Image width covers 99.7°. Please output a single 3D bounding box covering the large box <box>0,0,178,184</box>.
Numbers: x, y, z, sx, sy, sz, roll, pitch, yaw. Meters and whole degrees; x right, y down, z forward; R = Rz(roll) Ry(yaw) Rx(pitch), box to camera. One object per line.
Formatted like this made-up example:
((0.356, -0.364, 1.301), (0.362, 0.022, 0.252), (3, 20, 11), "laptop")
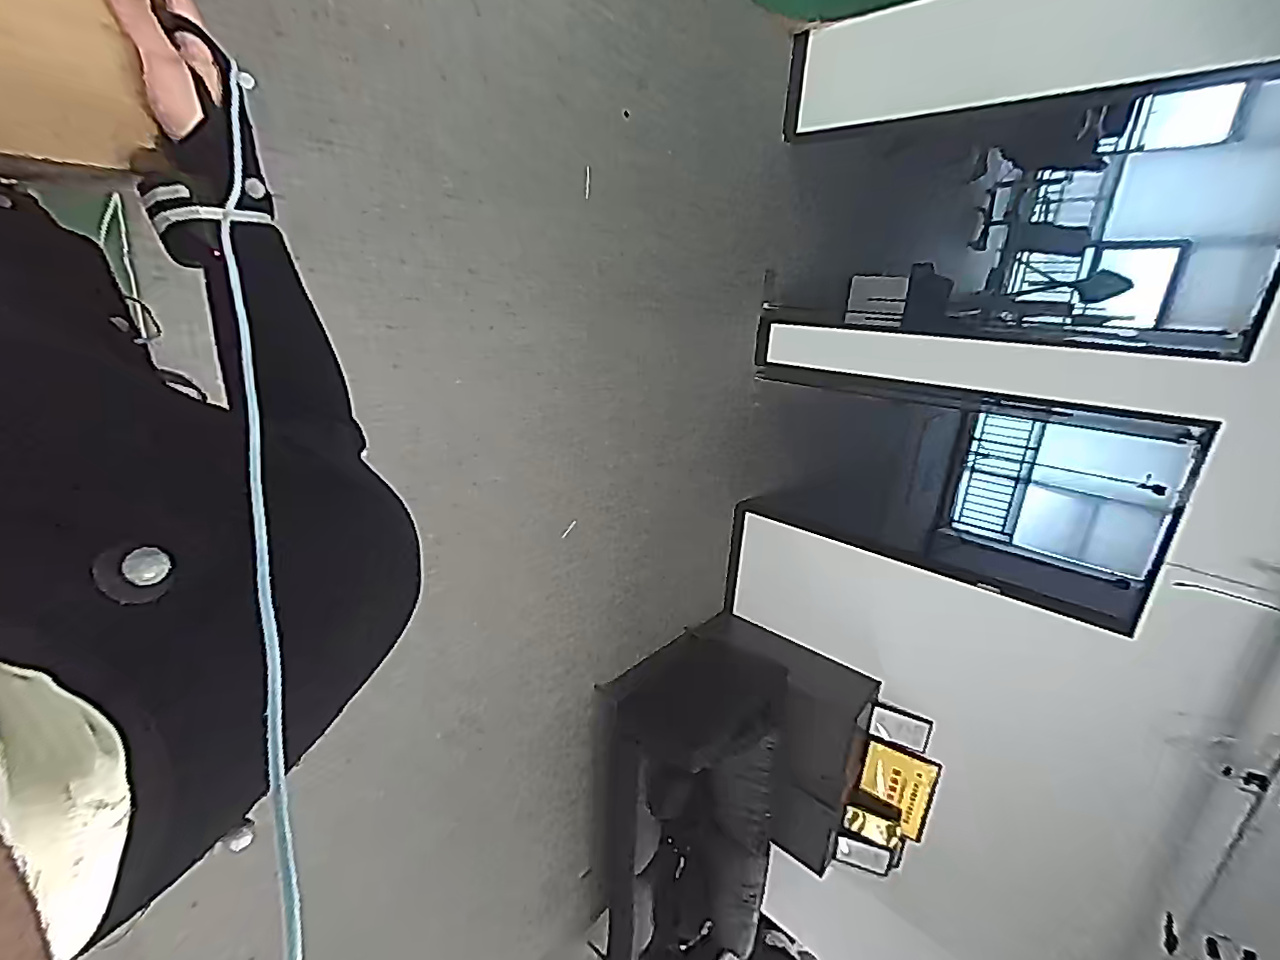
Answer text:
((-0.618, -0.401, 0.346), (0.408, 0.320, 0.320), (-19, 120, -46), "large box")
